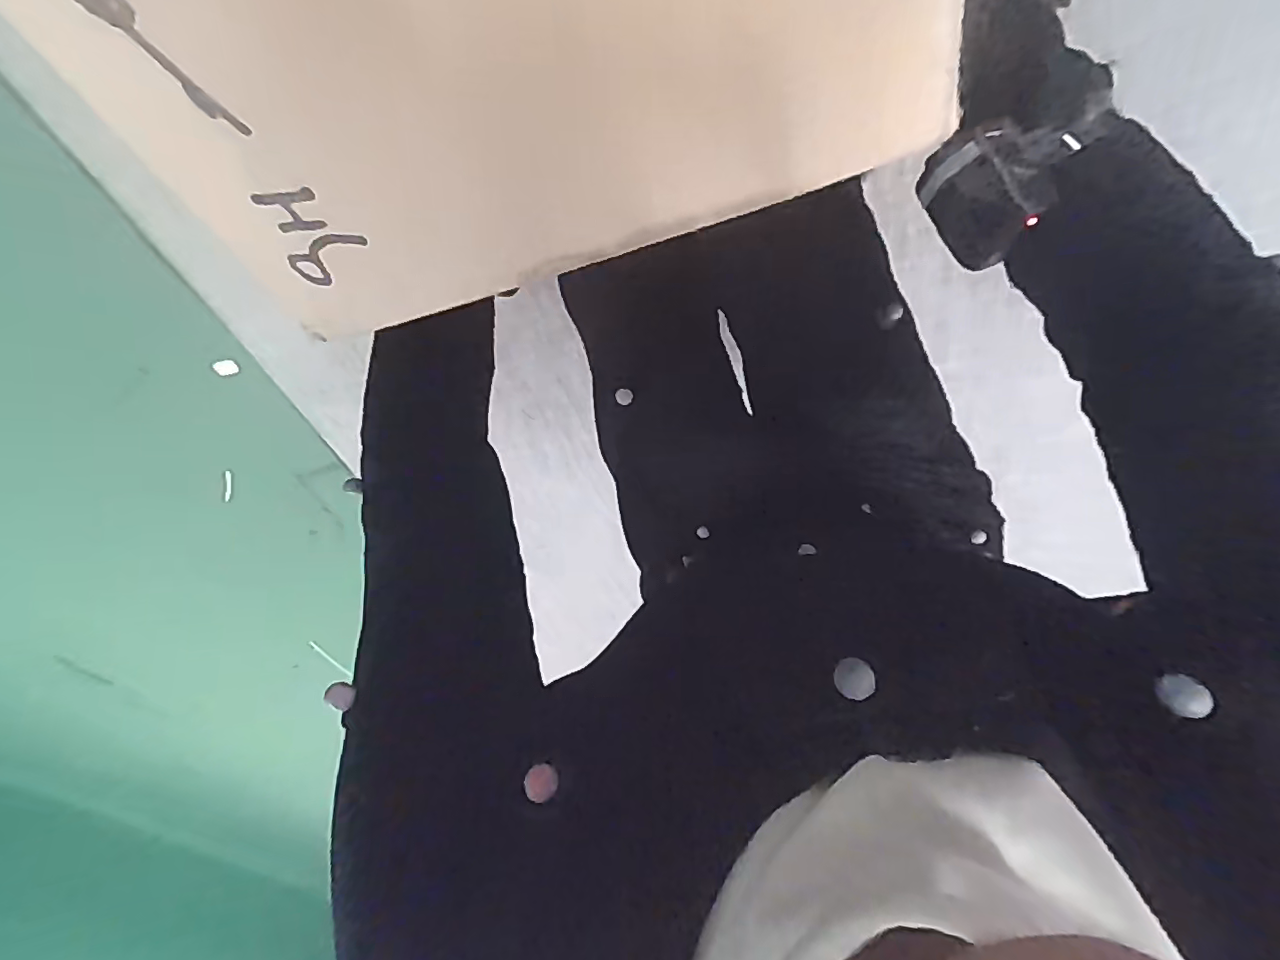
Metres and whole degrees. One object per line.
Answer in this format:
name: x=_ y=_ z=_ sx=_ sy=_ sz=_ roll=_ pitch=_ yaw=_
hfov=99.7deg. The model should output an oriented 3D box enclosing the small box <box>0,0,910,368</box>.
small box: x=-0.048 y=-0.159 z=0.131 sx=0.179 sy=0.176 sz=0.168 roll=-10 pitch=136 yaw=17
